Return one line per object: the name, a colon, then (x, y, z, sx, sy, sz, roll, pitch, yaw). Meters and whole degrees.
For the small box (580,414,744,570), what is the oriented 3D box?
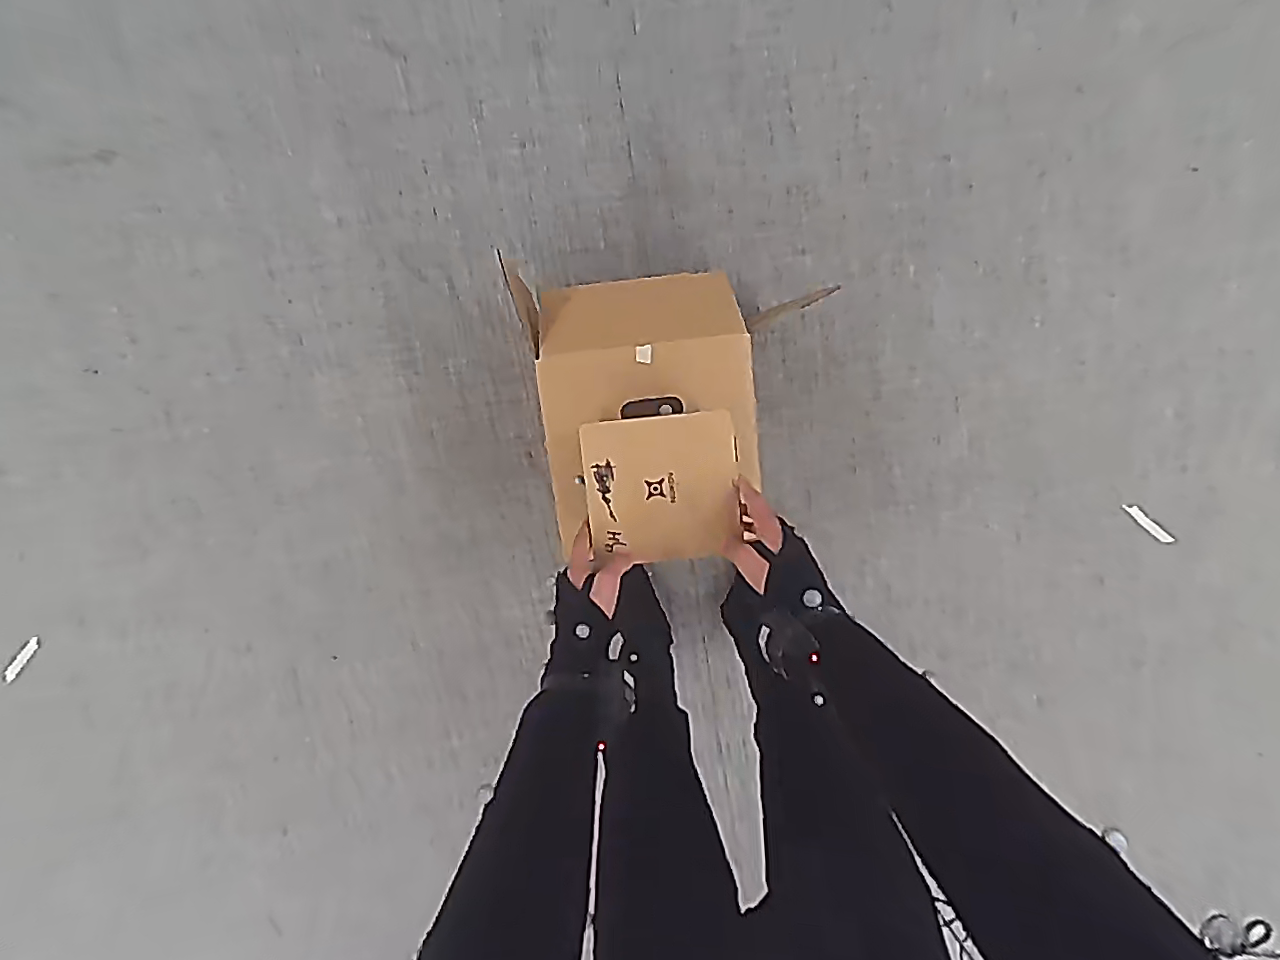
small box: (0.022, 0.005, 0.682, 0.179, 0.176, 0.168, -6, 96, -1)
